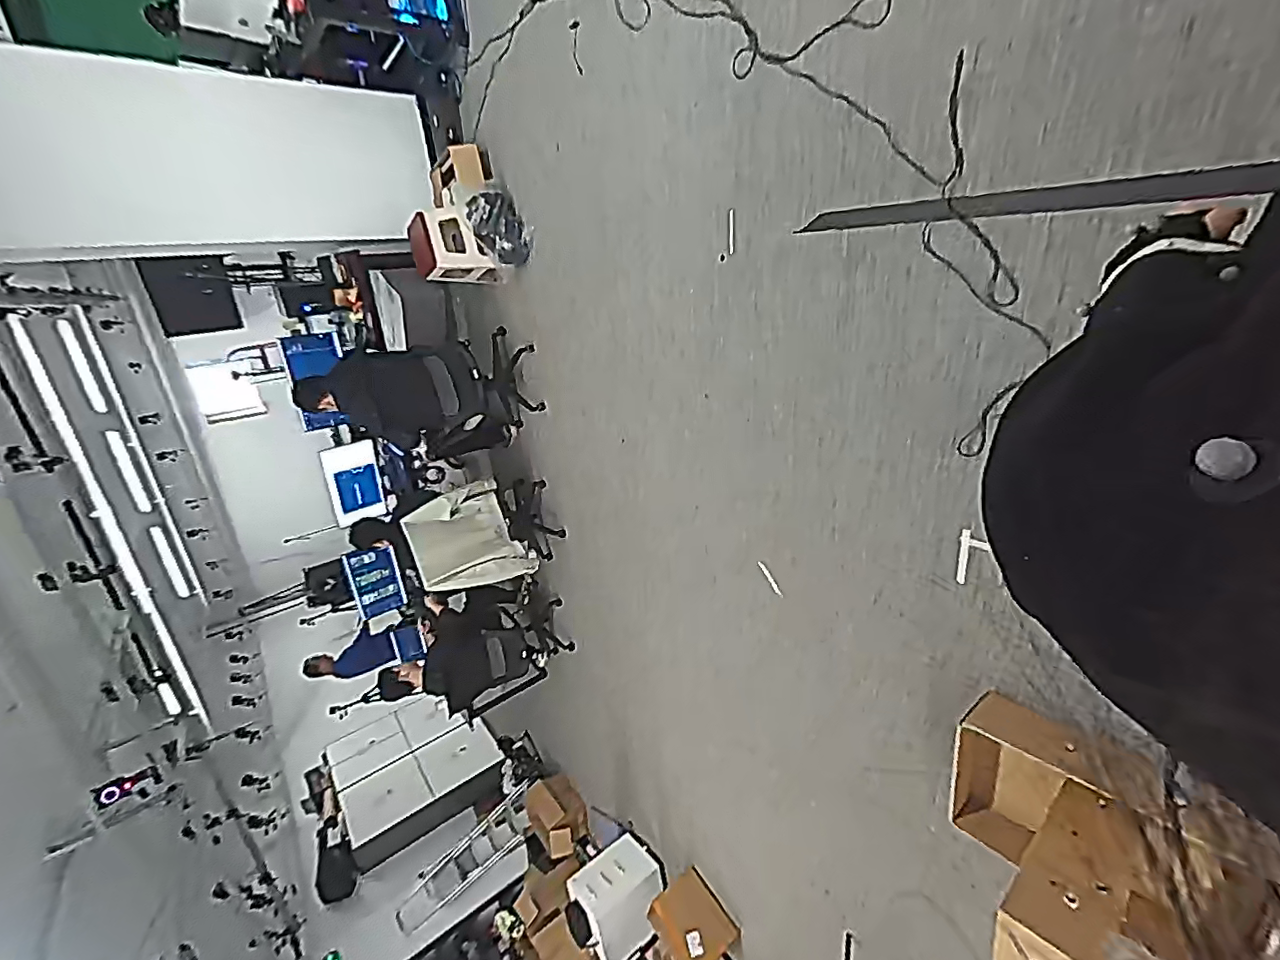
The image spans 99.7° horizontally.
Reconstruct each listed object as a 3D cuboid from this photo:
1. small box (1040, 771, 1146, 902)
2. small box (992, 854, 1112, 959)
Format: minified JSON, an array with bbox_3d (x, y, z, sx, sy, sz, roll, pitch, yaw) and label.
[{"bbox_3d":[1.141,0.887,1.363,0.168,0.176,0.179,14,118,51],"label":"small box"},{"bbox_3d":[0.891,0.976,1.172,0.168,0.176,0.179,13,117,51],"label":"small box"}]
